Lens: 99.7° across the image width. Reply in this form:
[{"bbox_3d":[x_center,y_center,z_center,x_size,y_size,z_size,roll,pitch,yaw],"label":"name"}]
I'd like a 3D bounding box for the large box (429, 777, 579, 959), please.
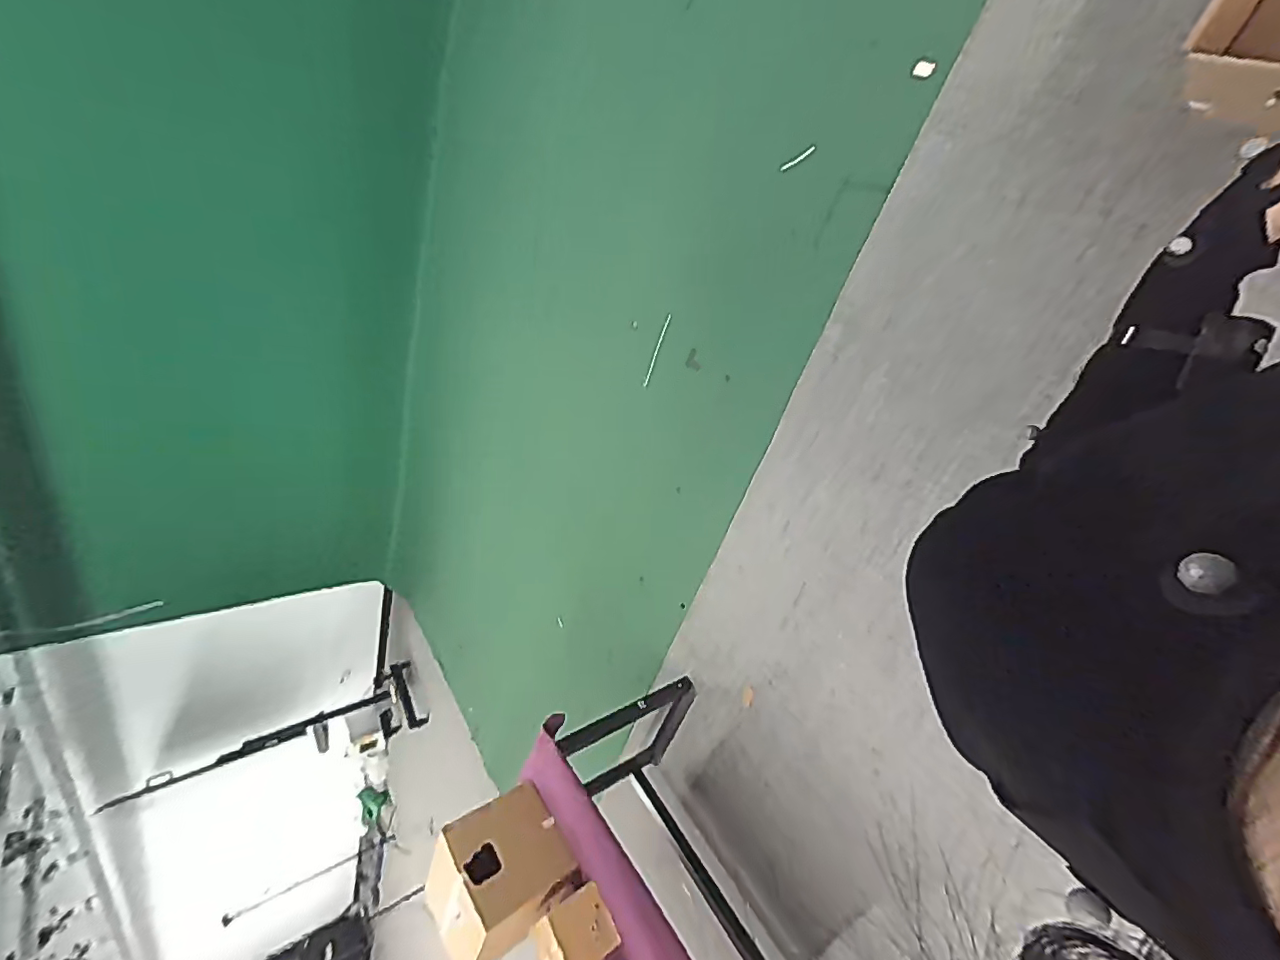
[{"bbox_3d":[-0.440,1.250,1.715,0.320,0.320,0.408,42,124,34],"label":"large box"}]
